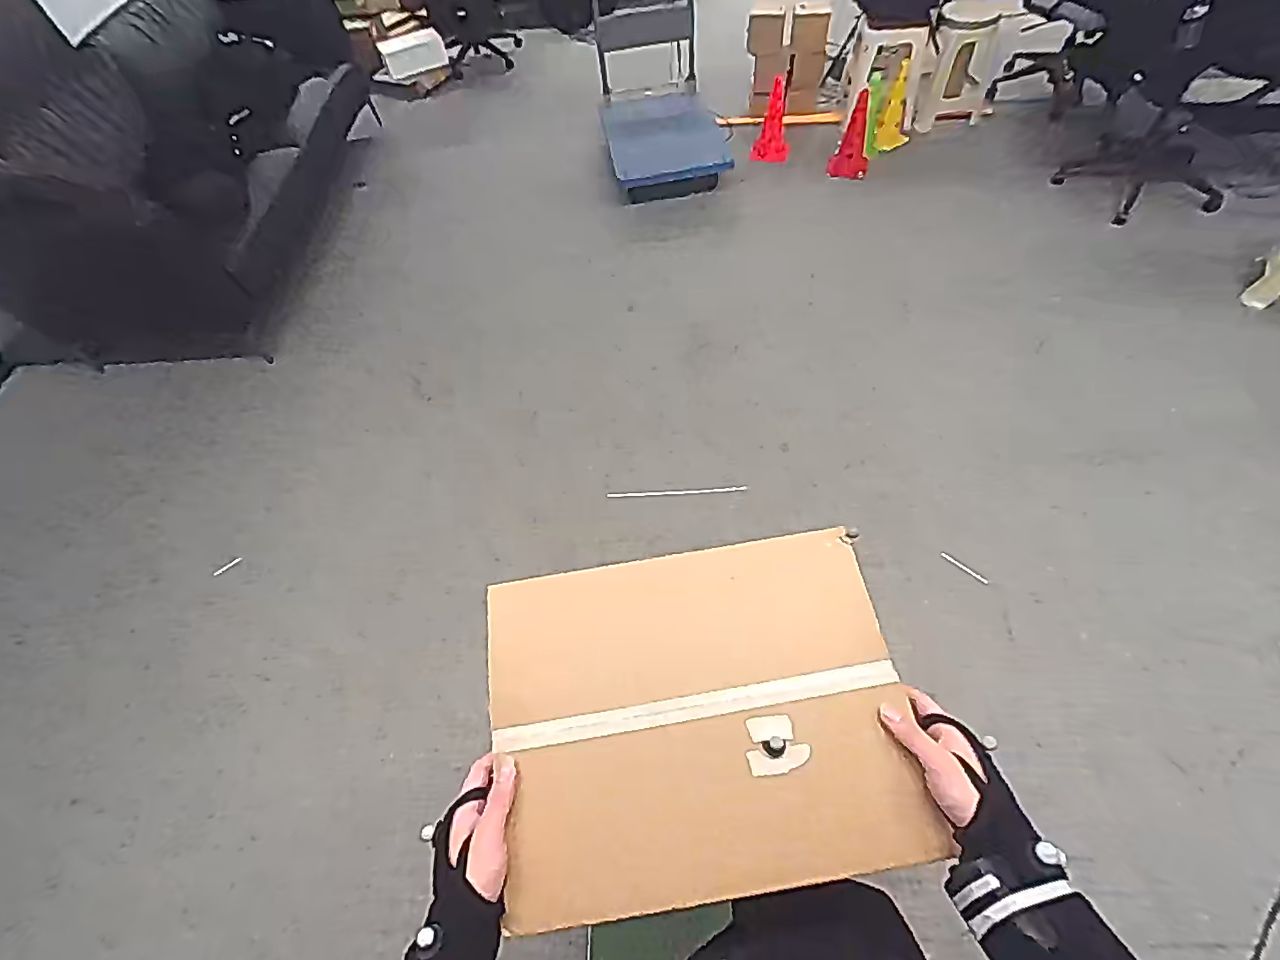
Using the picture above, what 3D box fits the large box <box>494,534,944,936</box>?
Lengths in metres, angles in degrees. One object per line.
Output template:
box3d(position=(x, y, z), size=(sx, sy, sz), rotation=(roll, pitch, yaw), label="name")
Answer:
box3d(position=(0.062, 0.297, 0.679), size=(0.408, 0.320, 0.320), rotation=(-10, 64, -2), label="large box")
